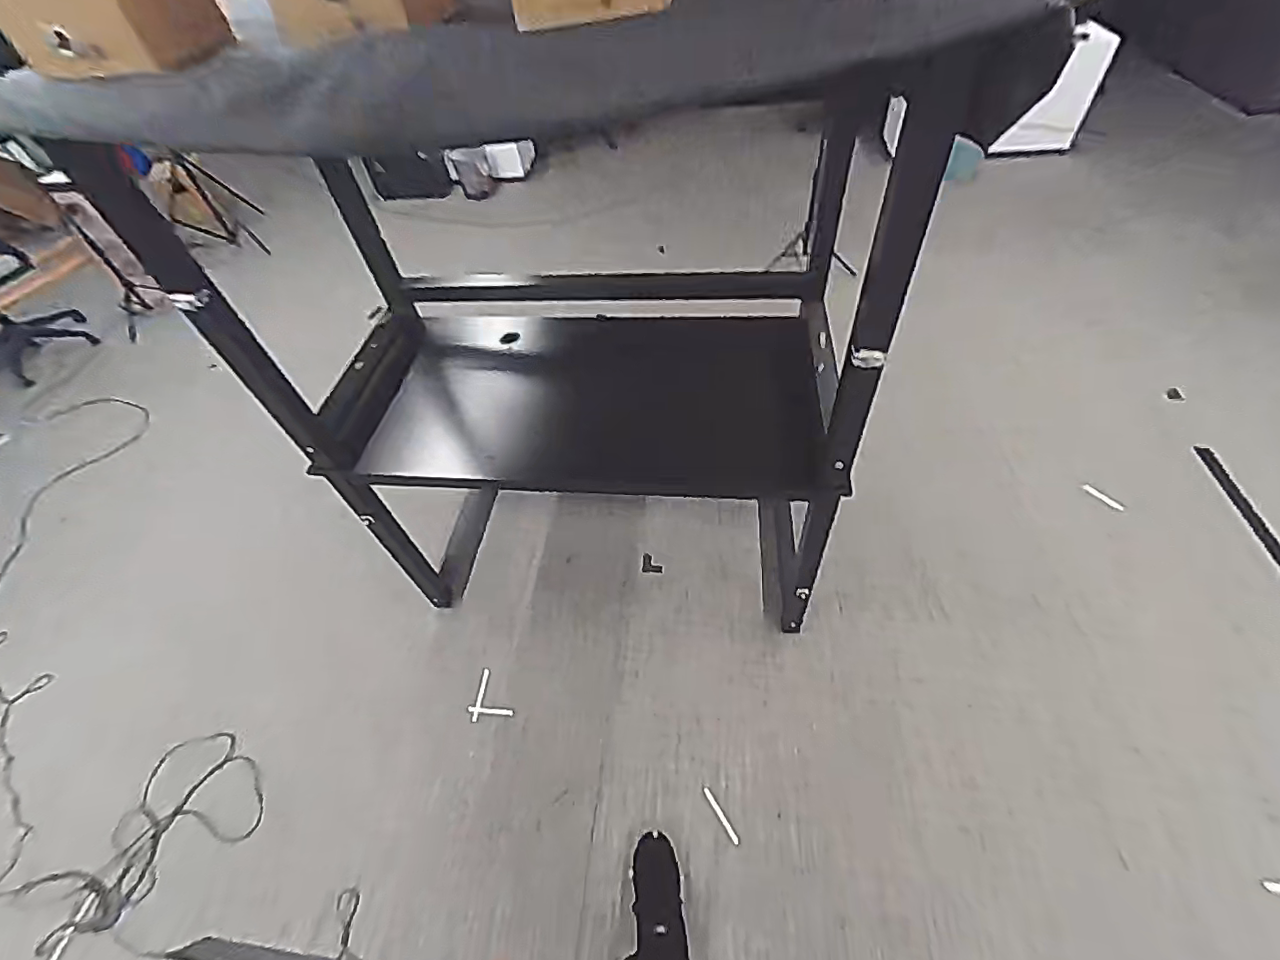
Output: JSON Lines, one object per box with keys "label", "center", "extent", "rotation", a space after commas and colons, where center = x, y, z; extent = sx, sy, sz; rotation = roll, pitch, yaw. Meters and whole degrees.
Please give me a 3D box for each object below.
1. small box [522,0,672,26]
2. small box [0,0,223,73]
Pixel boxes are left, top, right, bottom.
{"label": "small box", "center": [-0.049, -0.614, 0.585], "extent": [0.168, 0.176, 0.179], "rotation": [1, 48, 7]}
{"label": "small box", "center": [-0.659, -0.613, 0.650], "extent": [0.168, 0.176, 0.179], "rotation": [0, 50, 6]}
